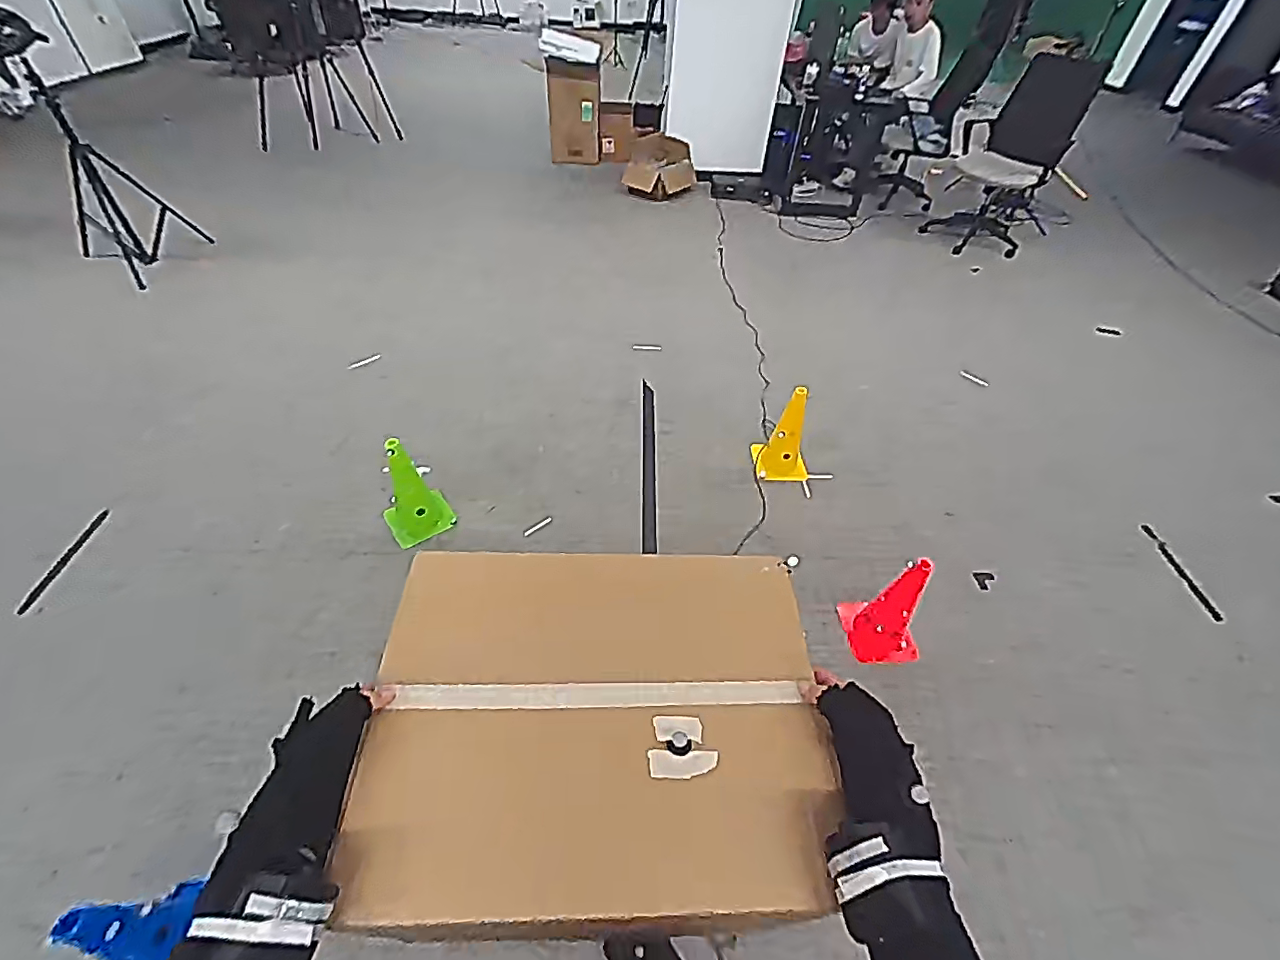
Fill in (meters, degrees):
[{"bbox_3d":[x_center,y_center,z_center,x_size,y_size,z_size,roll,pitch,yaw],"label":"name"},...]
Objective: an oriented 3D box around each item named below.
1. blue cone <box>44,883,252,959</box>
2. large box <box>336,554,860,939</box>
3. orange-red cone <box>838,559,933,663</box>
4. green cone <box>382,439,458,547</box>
[{"bbox_3d":[-0.902,0.820,0.973,0.192,0.380,0.193,3,46,1],"label":"blue cone"},{"bbox_3d":[-0.043,0.299,0.612,0.408,0.320,0.320,2,48,-4],"label":"large box"},{"bbox_3d":[0.731,0.341,1.527,0.198,0.360,0.199,1,44,-5],"label":"orange-red cone"},{"bbox_3d":[-0.754,0.008,1.748,0.202,0.368,0.200,-29,53,-26],"label":"green cone"}]
